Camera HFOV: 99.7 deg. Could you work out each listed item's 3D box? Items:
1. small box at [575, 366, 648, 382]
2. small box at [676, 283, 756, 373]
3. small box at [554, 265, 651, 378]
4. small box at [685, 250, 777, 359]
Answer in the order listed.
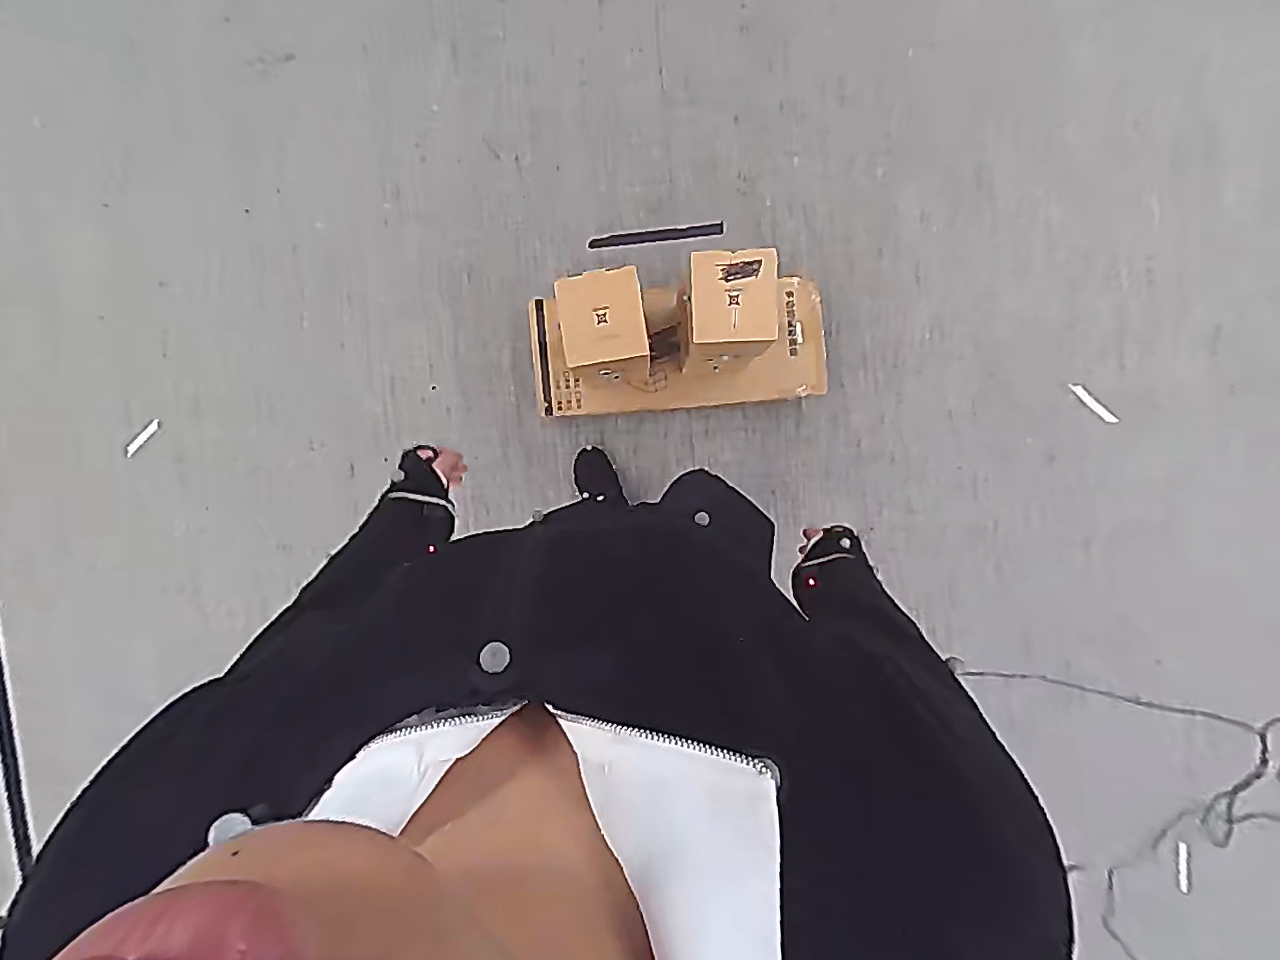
[{"bbox_3d":[-0.071,-0.331,1.286,0.168,0.176,0.179,-7,93,1],"label":"small box"},{"bbox_3d":[0.176,-0.361,1.280,0.168,0.176,0.179,-5,93,2],"label":"small box"},{"bbox_3d":[-0.073,-0.320,1.122,0.168,0.176,0.179,-10,93,2],"label":"small box"},{"bbox_3d":[0.181,-0.355,1.116,0.168,0.176,0.179,-2,93,2],"label":"small box"}]
